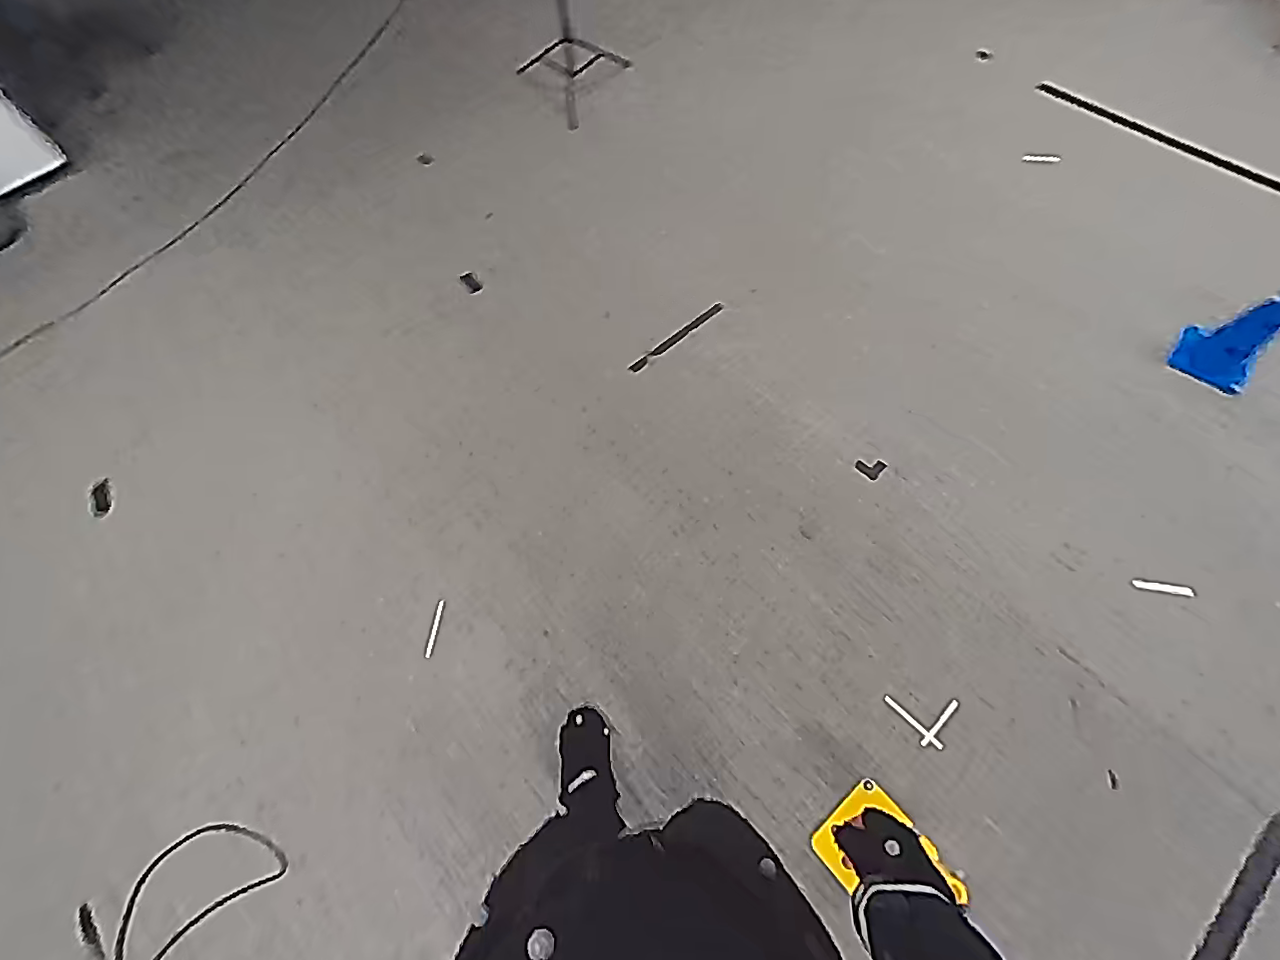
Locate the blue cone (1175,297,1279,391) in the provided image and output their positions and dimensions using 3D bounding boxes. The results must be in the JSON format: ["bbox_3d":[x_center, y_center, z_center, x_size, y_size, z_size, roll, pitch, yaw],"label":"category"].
[{"bbox_3d":[1.733,-0.443,1.490,0.192,0.380,0.193,39,72,19],"label":"blue cone"}]
